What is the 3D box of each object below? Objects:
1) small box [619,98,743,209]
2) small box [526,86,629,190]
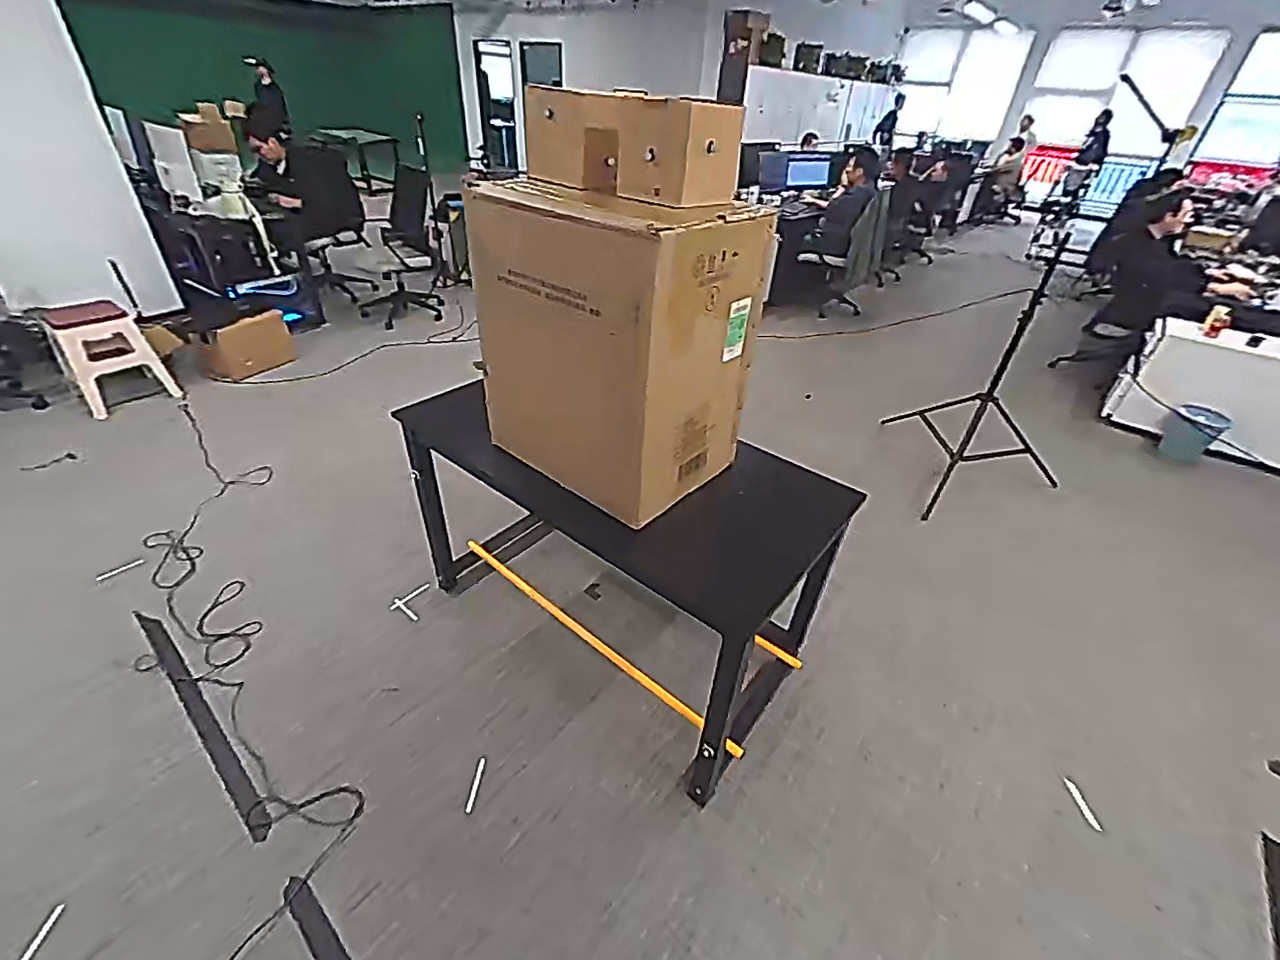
[{"bbox_3d":[0.076,-0.627,1.040,0.168,0.176,0.179,28,41,31],"label":"small box"},{"bbox_3d":[-0.127,-0.731,1.162,0.179,0.176,0.168,29,42,28],"label":"small box"}]
